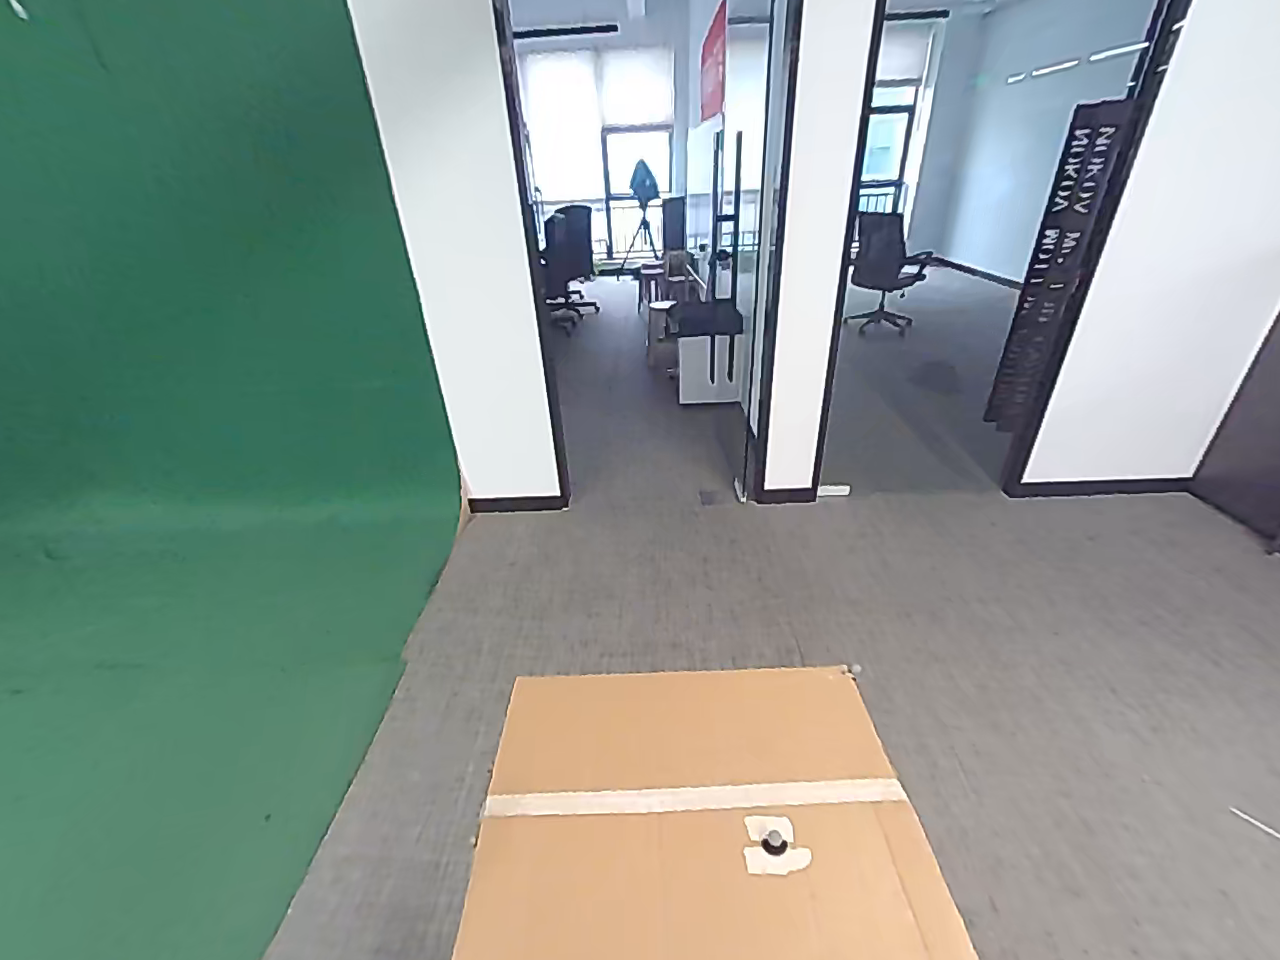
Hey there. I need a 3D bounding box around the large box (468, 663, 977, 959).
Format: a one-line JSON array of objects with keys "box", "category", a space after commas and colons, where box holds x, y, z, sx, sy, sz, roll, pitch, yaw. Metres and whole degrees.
[{"box": [0.059, 0.437, 0.605, 0.408, 0.320, 0.320, -1, 30, -1], "category": "large box"}]
